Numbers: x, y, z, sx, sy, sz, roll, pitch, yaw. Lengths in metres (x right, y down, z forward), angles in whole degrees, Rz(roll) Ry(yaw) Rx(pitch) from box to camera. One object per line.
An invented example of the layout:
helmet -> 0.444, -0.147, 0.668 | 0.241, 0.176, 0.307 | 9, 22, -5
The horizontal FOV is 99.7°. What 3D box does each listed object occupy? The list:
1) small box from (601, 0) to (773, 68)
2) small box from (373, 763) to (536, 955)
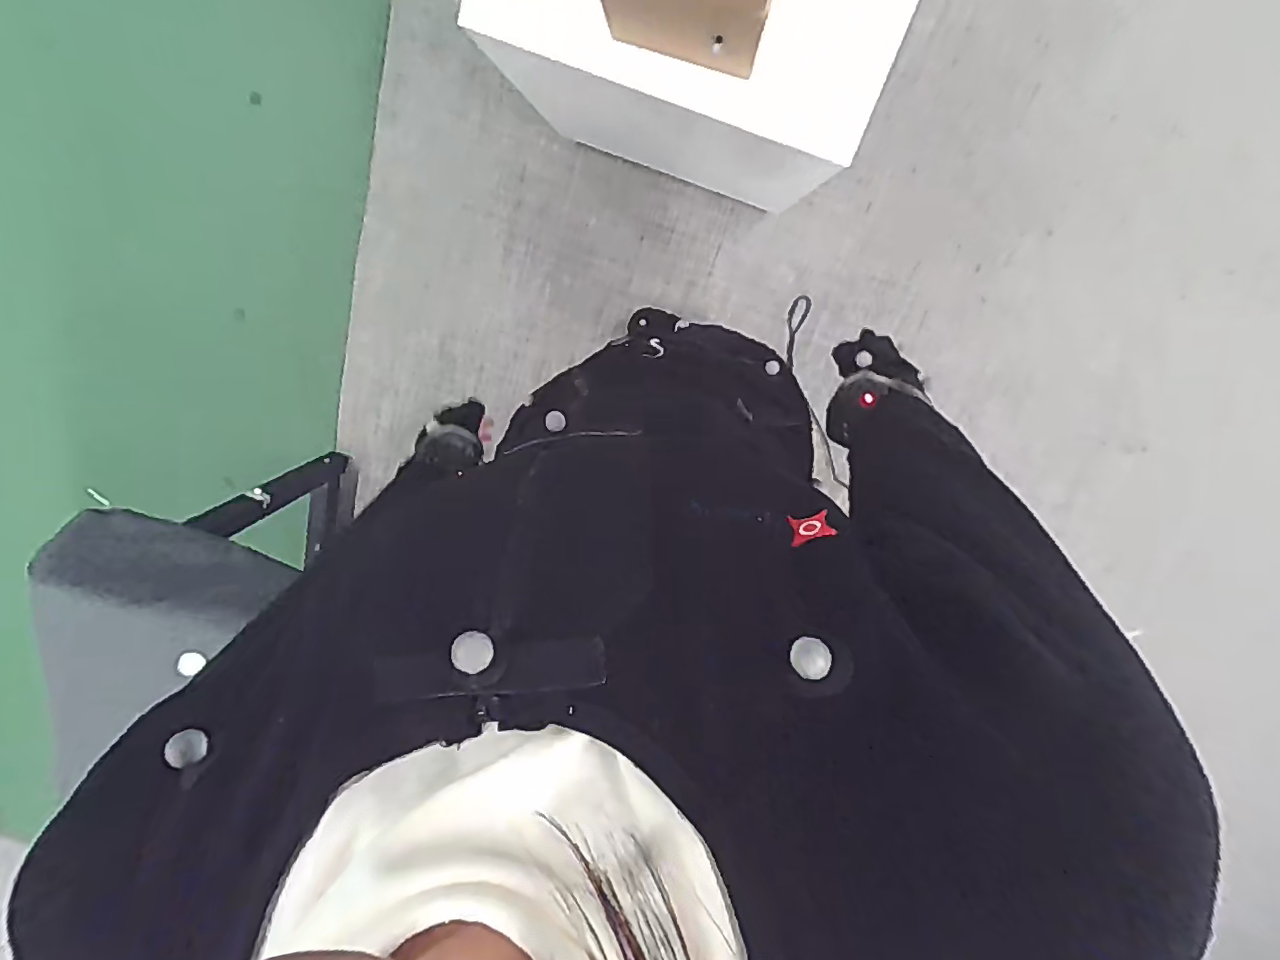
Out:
small box -> 0.061, -0.545, 0.534 | 0.179, 0.176, 0.168 | 17, 110, 1
small box -> -0.282, 0.588, 0.855 | 0.179, 0.176, 0.168 | 22, 111, -3
